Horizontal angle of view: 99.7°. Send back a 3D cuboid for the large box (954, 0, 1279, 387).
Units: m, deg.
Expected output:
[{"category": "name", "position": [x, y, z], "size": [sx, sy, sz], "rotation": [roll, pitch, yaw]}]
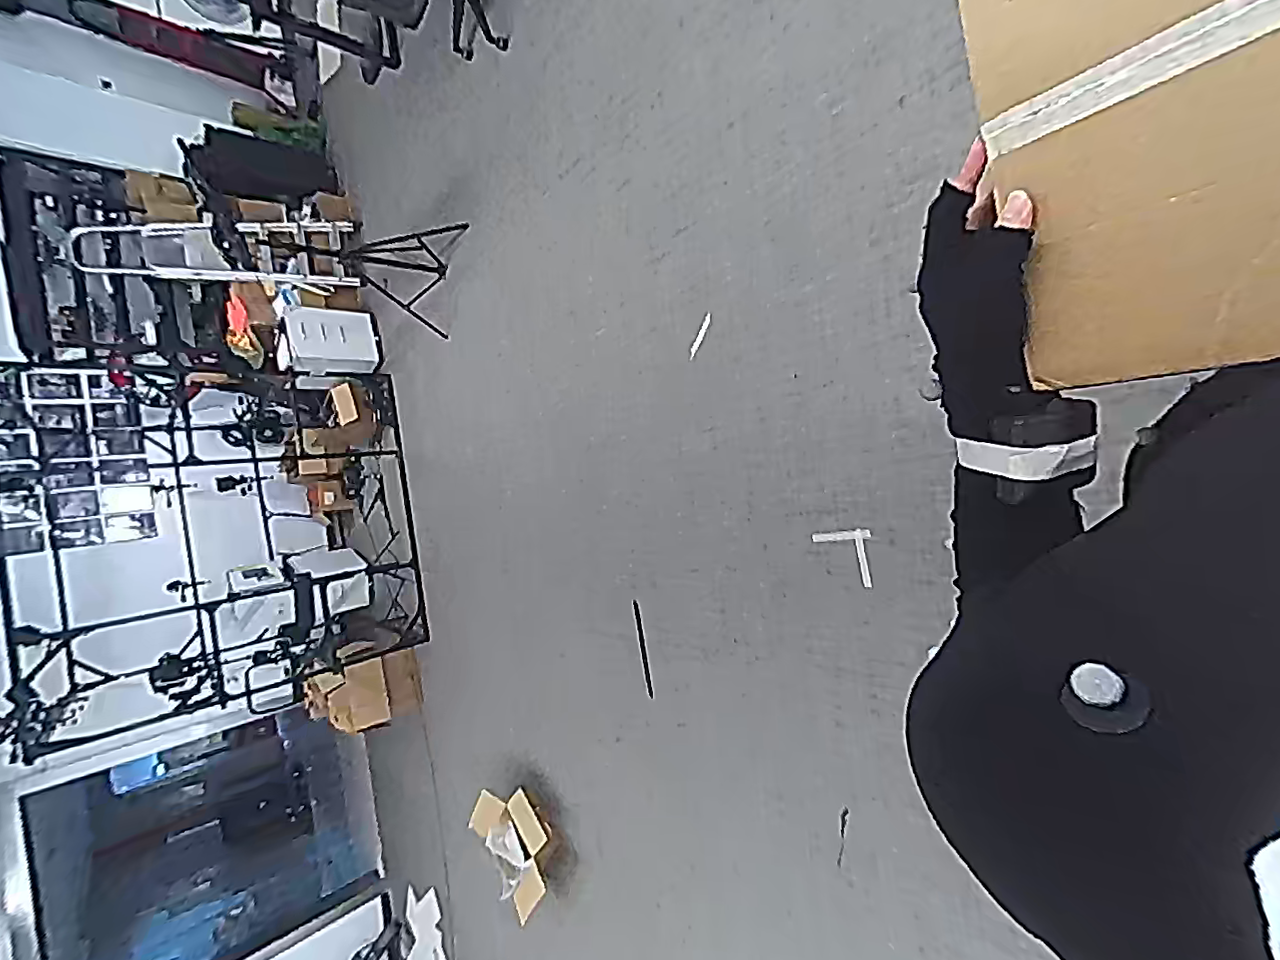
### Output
[{"category": "large box", "position": [0.442, -0.267, 0.261], "size": [0.408, 0.320, 0.320], "rotation": [-4, 106, 53]}]
